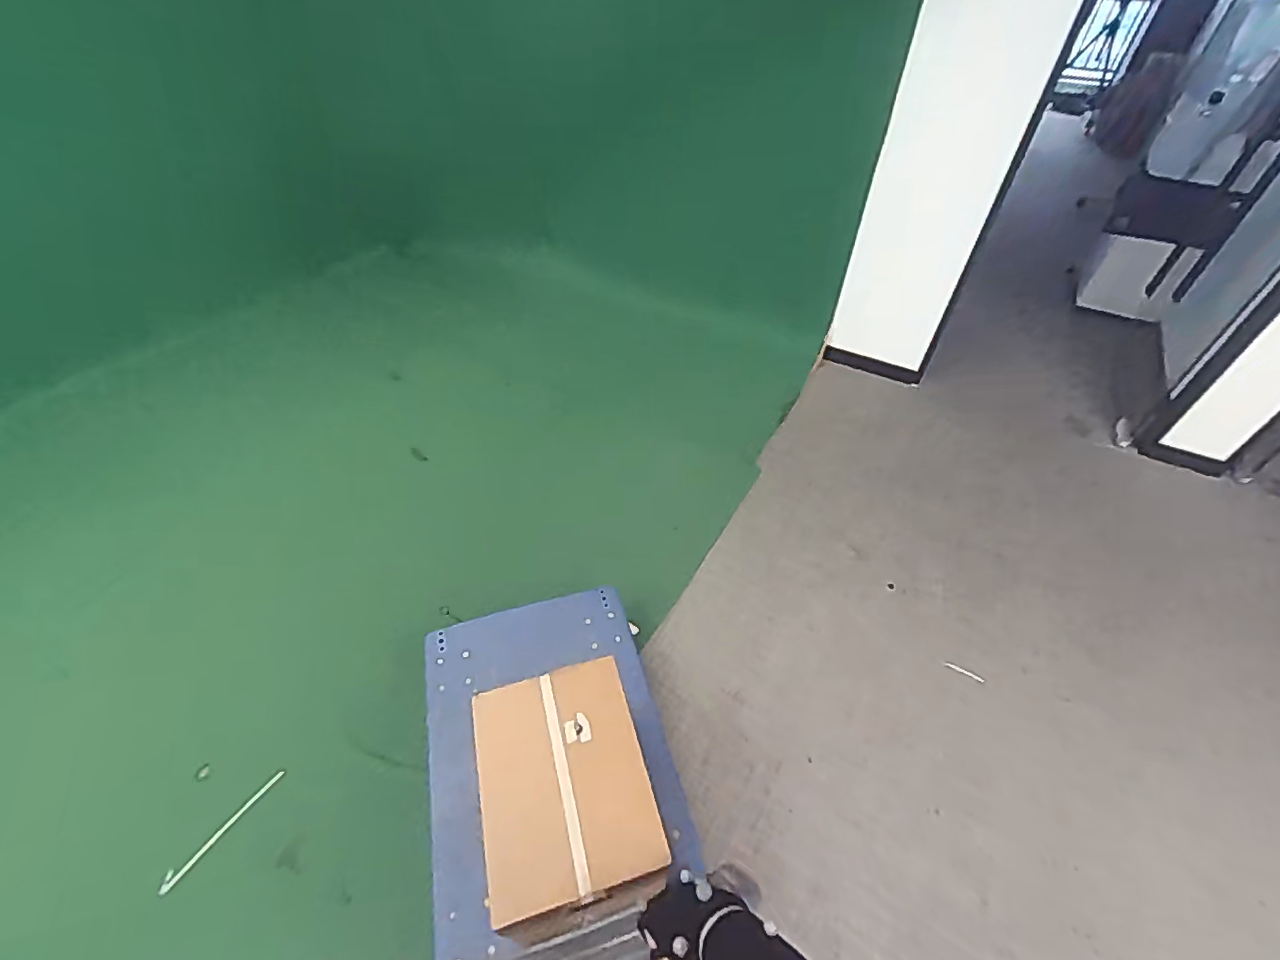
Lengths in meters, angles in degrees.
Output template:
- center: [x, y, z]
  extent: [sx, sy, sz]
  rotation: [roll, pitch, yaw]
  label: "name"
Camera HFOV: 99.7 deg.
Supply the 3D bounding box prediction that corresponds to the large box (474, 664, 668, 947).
- center: [-0.148, 0.683, 1.158]
  extent: [0.320, 0.320, 0.408]
  rotation: [-12, 46, -12]
  label: "large box"
